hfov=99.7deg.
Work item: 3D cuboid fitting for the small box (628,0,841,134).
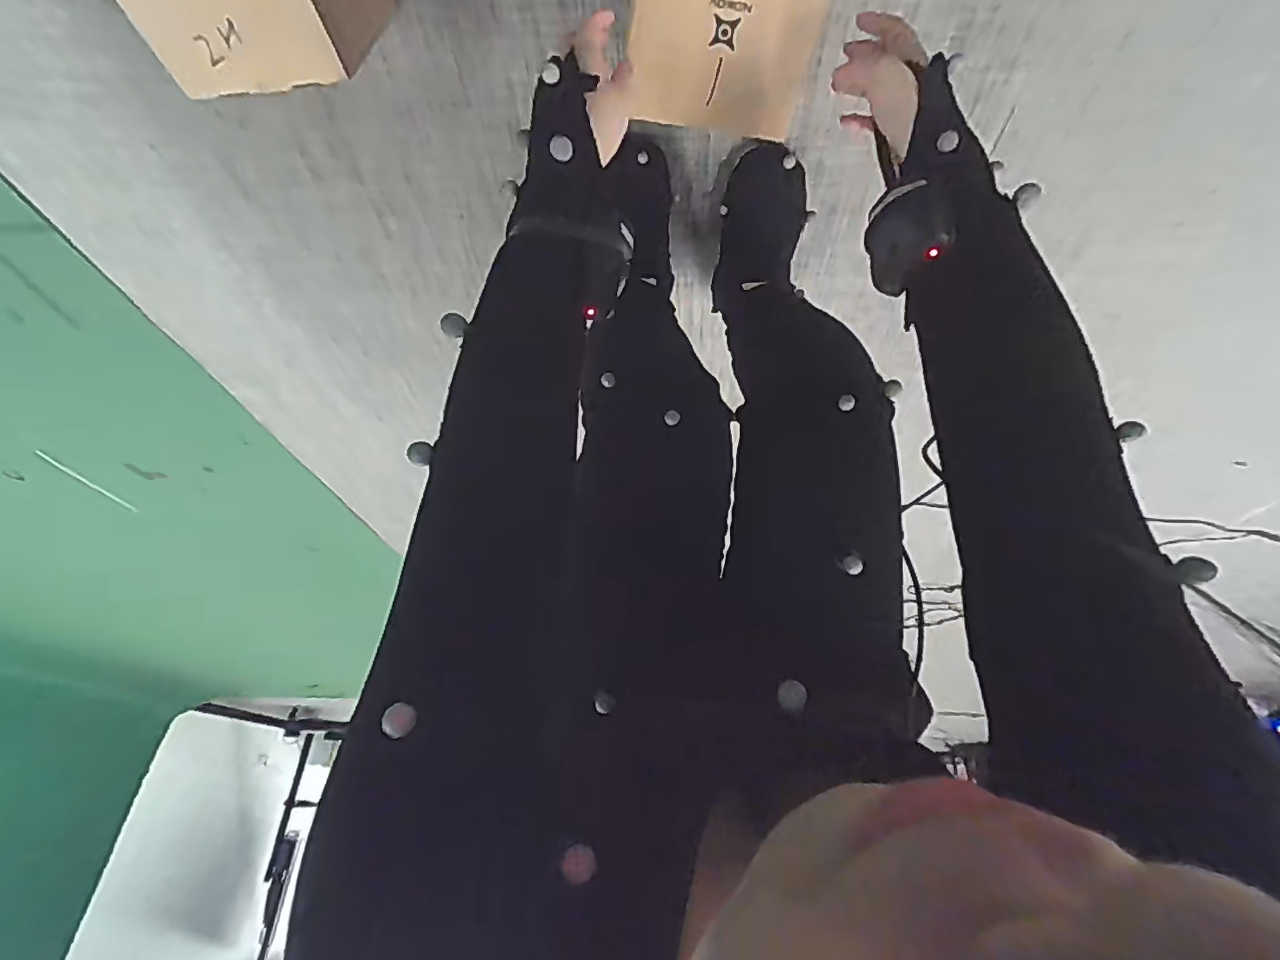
[{"bbox_3d":[0.082,-0.457,0.487,0.168,0.176,0.179,6,149,-6],"label":"small box"}]

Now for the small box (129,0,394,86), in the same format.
[{"bbox_3d":[-0.346,-0.484,0.467,0.168,0.176,0.179,-2,148,6],"label":"small box"}]
